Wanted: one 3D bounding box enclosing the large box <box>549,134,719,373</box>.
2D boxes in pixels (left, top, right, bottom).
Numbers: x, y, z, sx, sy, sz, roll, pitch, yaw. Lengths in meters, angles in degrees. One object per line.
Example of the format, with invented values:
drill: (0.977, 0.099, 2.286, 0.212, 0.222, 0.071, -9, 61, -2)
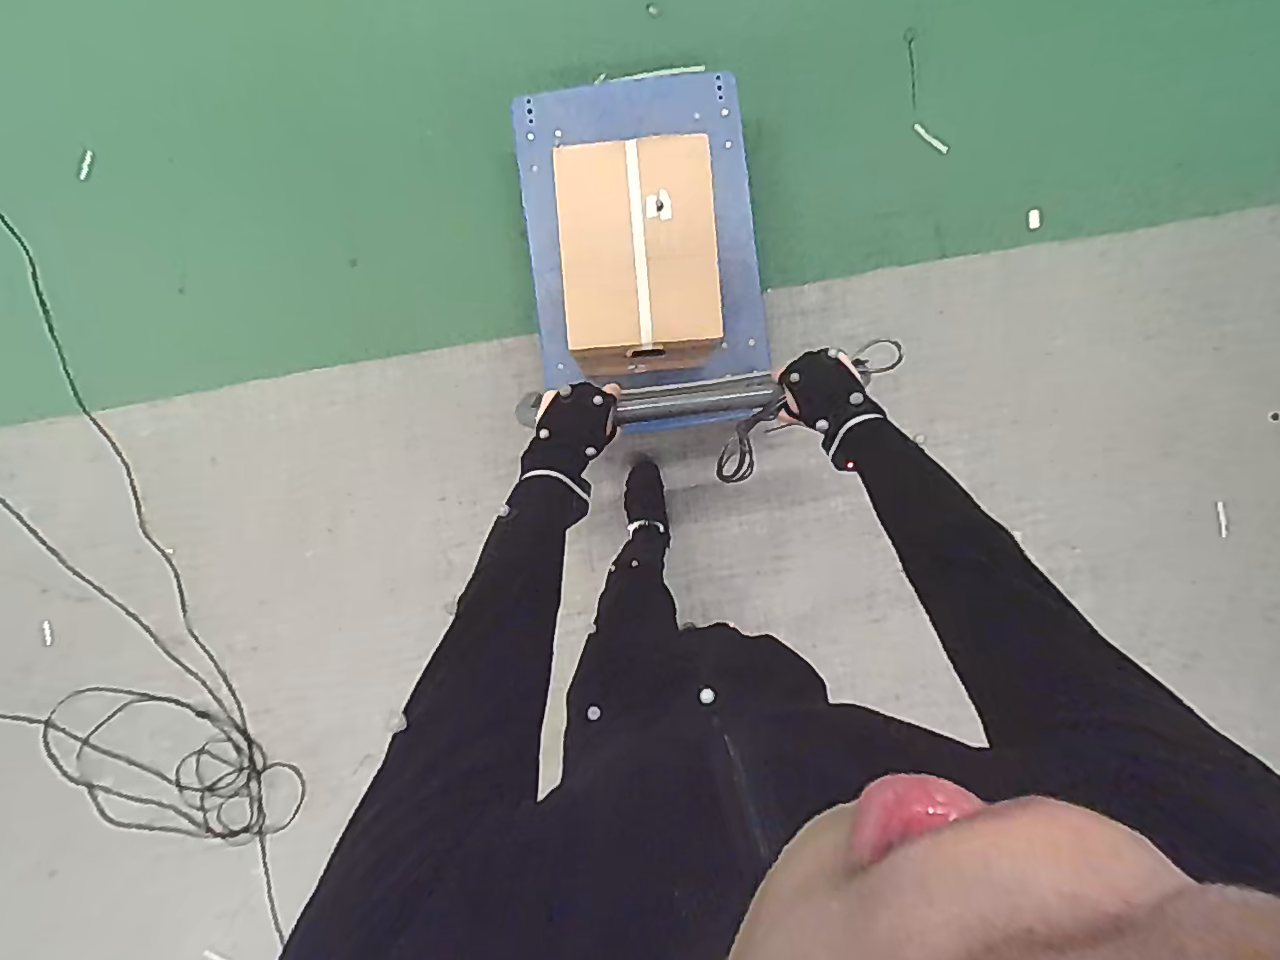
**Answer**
large box: (-0.010, -0.478, 1.223, 0.320, 0.320, 0.408, -4, 91, 0)
